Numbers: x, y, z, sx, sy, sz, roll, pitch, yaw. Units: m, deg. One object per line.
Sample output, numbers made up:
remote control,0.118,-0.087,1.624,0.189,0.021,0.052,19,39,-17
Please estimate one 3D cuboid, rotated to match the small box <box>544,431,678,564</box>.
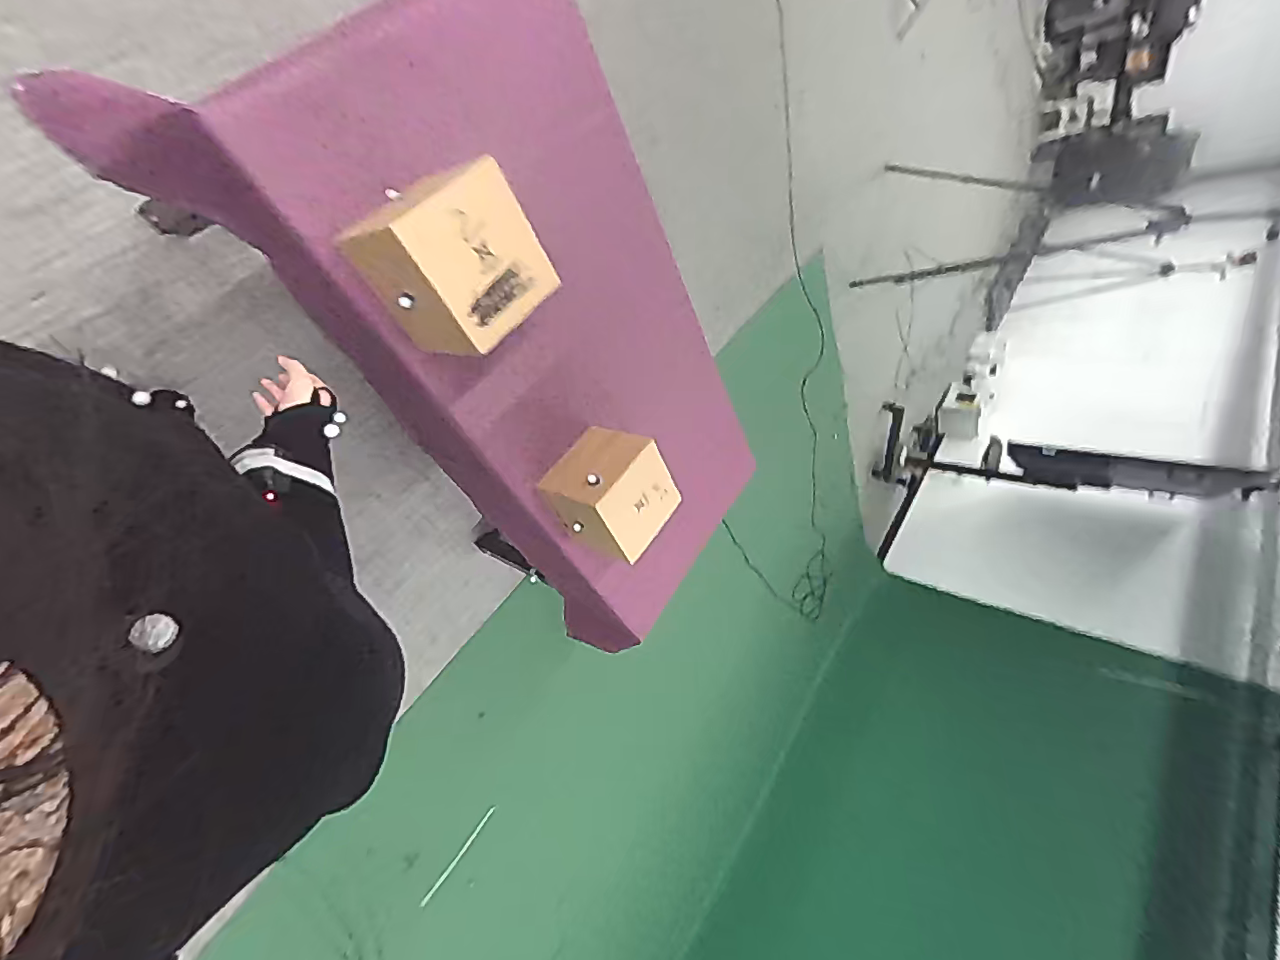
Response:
small box,-0.061,0.026,1.041,0.179,0.176,0.168,-51,134,-26
